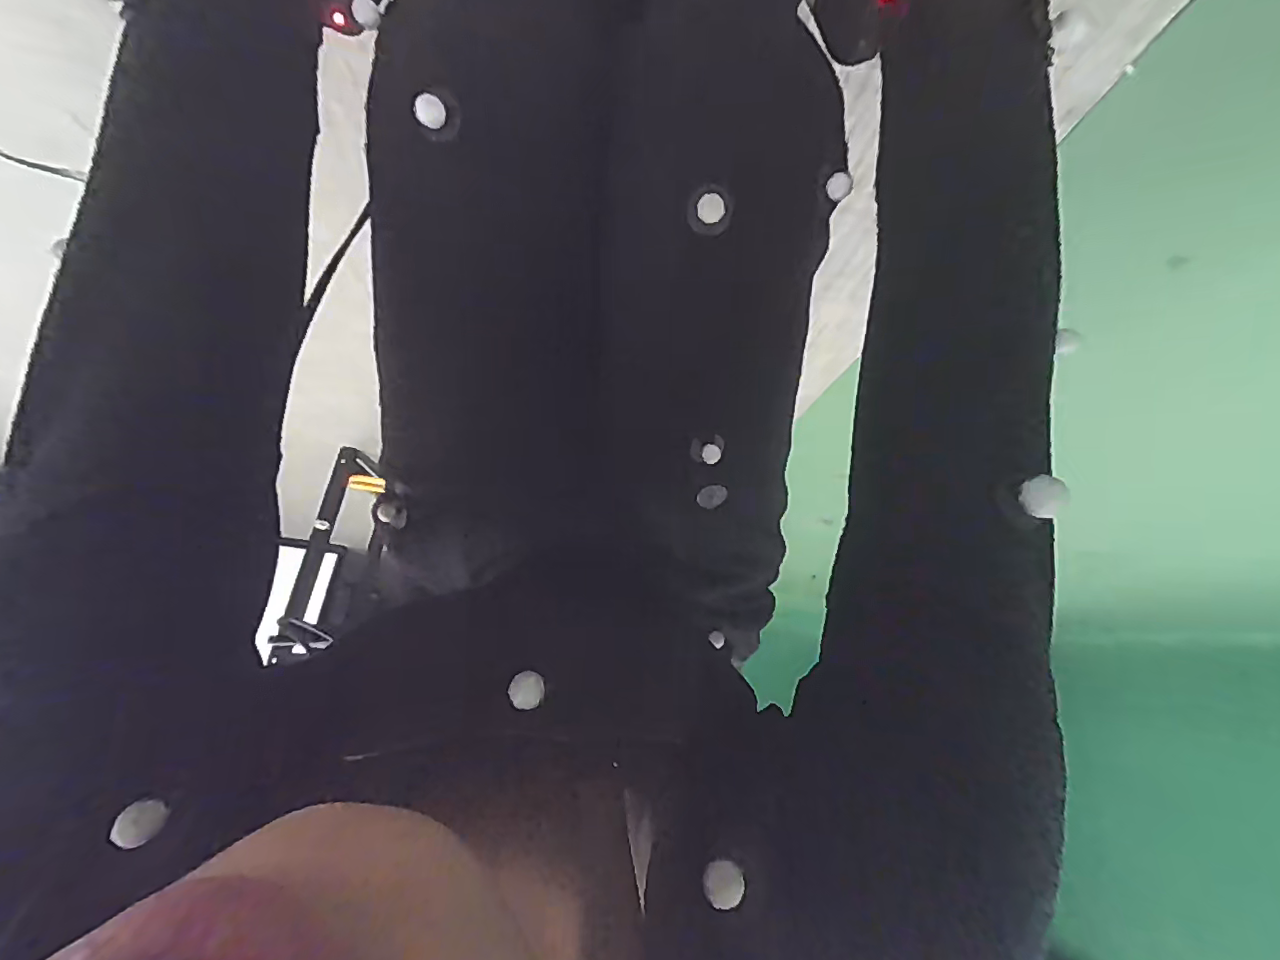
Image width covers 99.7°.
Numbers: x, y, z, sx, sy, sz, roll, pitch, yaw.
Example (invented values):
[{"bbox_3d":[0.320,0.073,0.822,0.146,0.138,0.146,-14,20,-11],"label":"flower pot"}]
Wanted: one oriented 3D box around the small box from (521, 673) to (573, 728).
[{"bbox_3d":[-0.352,0.842,2.080,0.168,0.176,0.179,9,161,-3],"label":"small box"}]
